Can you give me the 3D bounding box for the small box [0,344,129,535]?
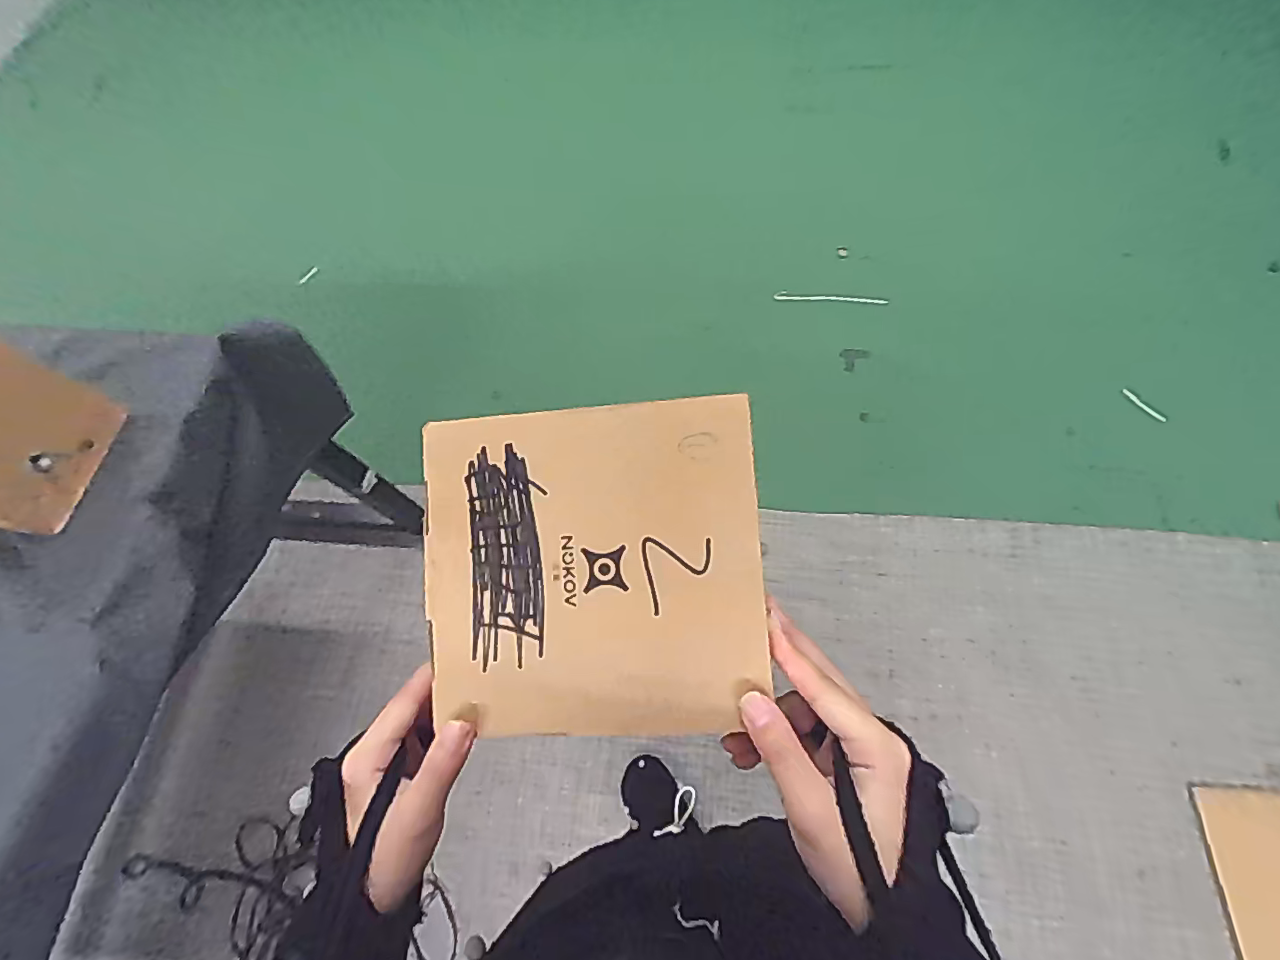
[{"bbox_3d":[-0.734,-0.048,0.581,0.179,0.176,0.168,7,68,7],"label":"small box"}]
